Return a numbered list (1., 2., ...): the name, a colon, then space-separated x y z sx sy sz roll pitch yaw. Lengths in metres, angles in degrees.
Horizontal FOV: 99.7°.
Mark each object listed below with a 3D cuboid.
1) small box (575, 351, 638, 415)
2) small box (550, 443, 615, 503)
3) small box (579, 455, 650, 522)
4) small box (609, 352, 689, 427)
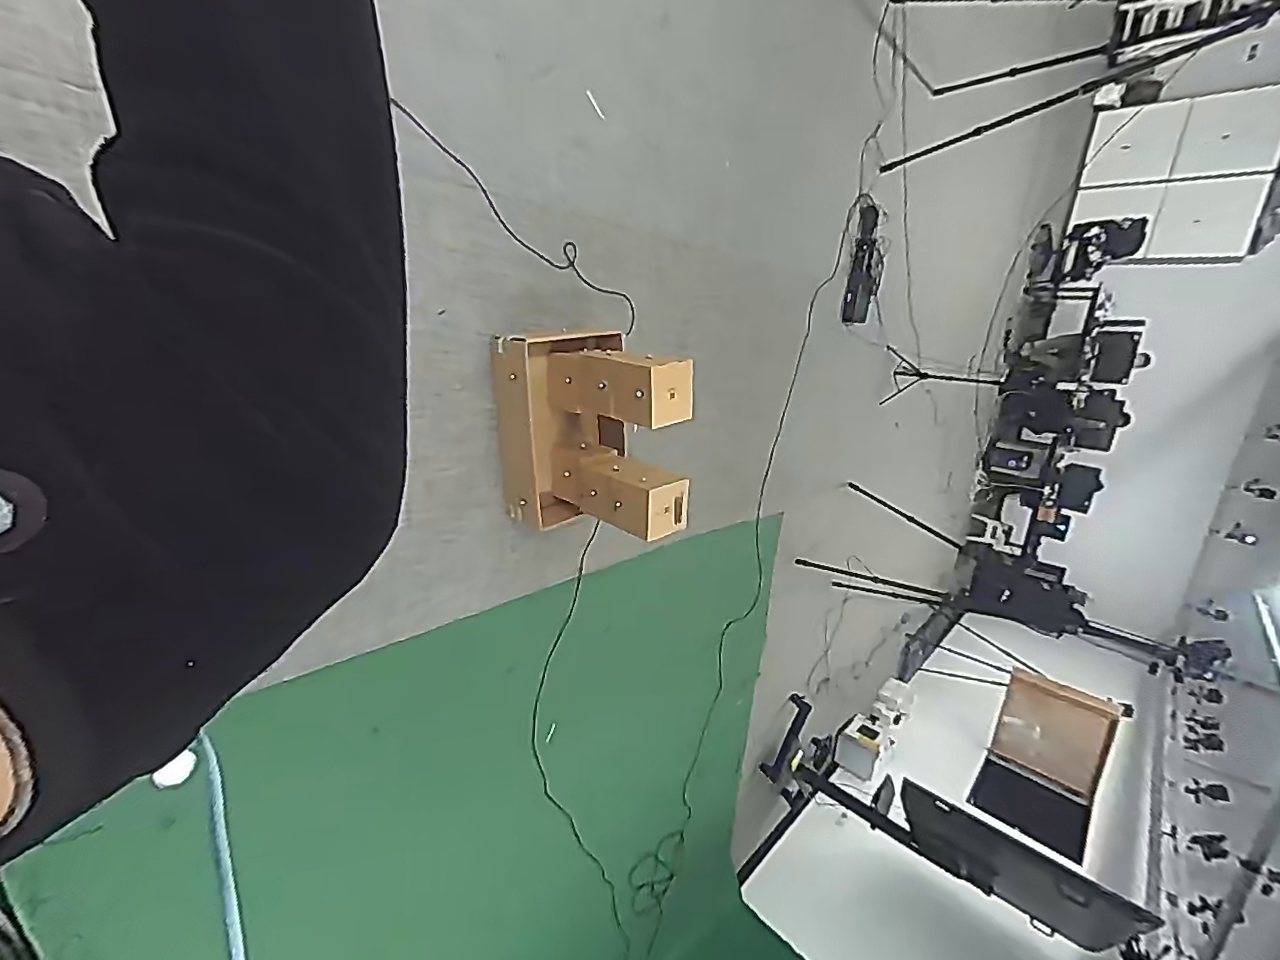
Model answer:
1. small box: -0.089 -0.307 1.672 0.168 0.176 0.179 -15 115 -42
2. small box: -0.203 -0.030 1.893 0.168 0.176 0.179 -16 114 -43
3. small box: -0.088 0.023 1.787 0.179 0.176 0.168 -16 116 -43
4. small box: 0.025 -0.267 1.563 0.168 0.176 0.179 -21 117 -39
